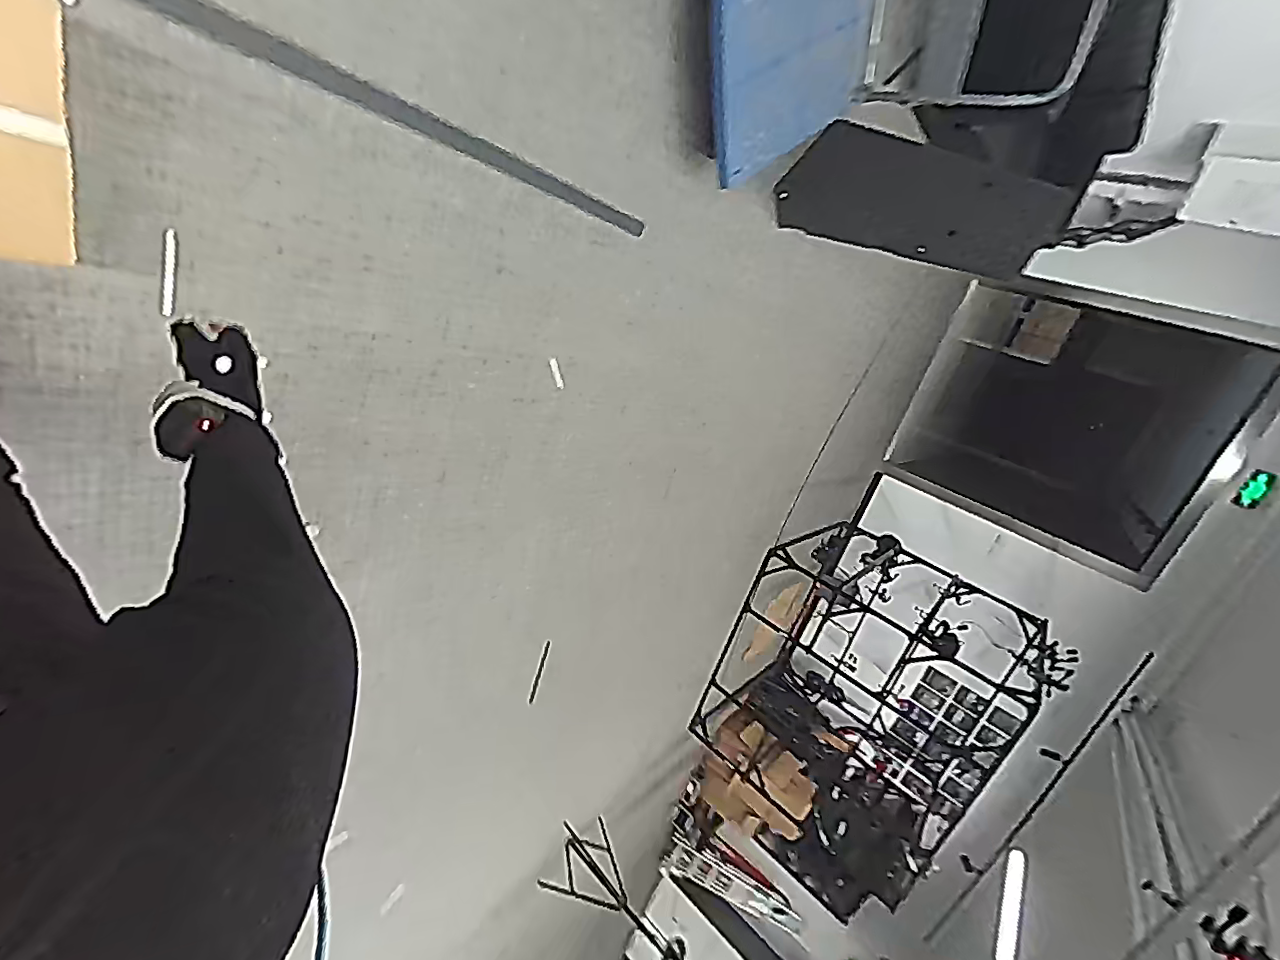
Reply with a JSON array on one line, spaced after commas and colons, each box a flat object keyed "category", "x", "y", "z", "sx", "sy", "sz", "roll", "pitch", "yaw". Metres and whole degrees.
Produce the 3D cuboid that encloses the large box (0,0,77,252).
[{"category": "large box", "x": -0.915, "y": -0.468, "z": 0.562, "sx": 0.408, "sy": 0.320, "sz": 0.320, "roll": -10, "pitch": 125, "yaw": -53}]
